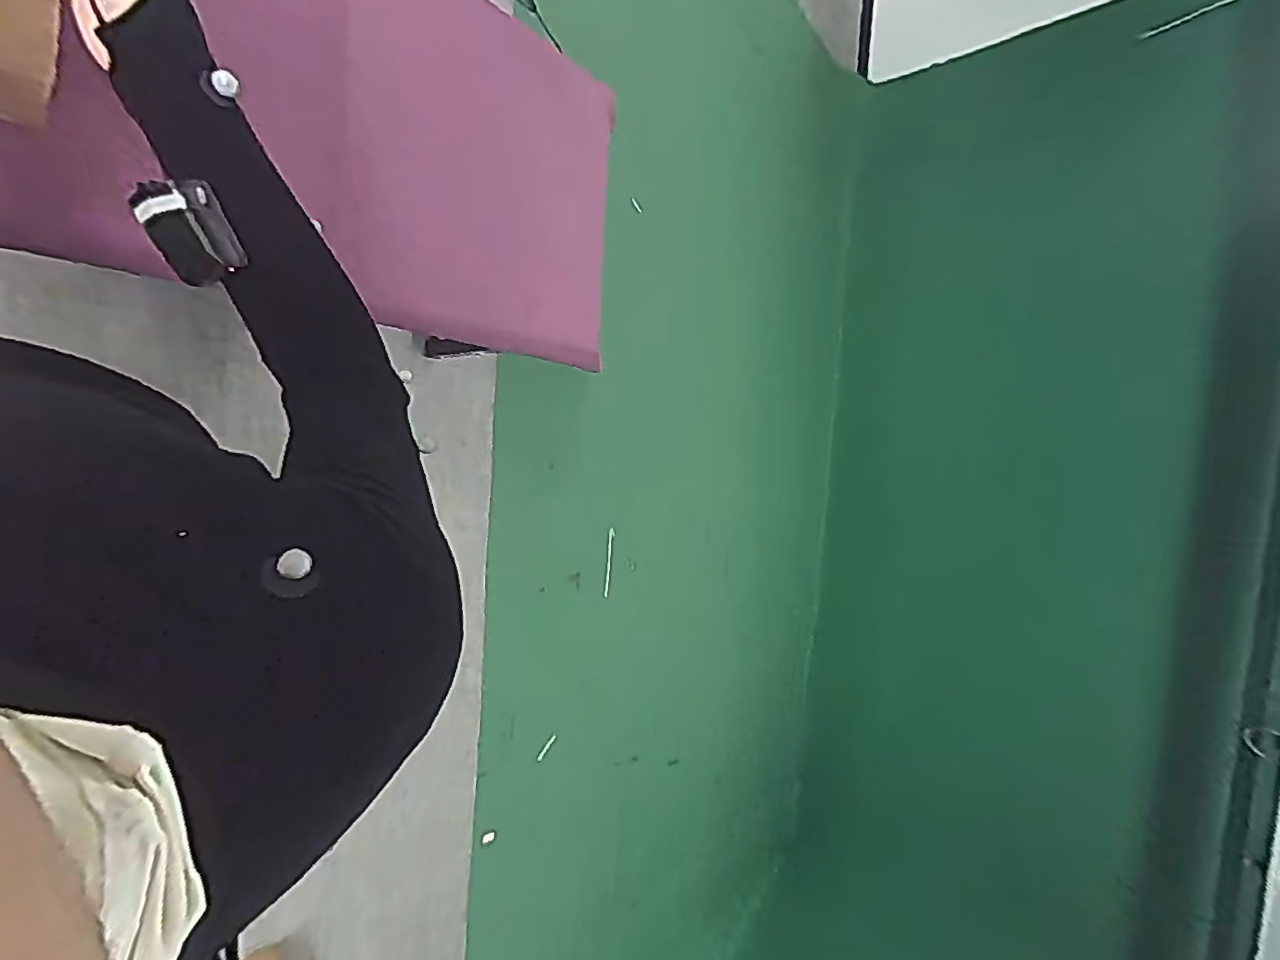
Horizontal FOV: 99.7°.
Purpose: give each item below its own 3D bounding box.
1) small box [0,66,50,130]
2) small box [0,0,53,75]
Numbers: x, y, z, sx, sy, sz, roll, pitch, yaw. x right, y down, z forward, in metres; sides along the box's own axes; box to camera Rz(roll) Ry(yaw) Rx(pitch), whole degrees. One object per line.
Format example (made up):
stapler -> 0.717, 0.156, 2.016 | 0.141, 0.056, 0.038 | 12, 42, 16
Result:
small box -> -0.671, -0.469, 0.496 | 0.168, 0.176, 0.179 | -3, 98, -49
small box -> -0.548, -0.447, 0.390 | 0.168, 0.176, 0.179 | -3, 96, -48
